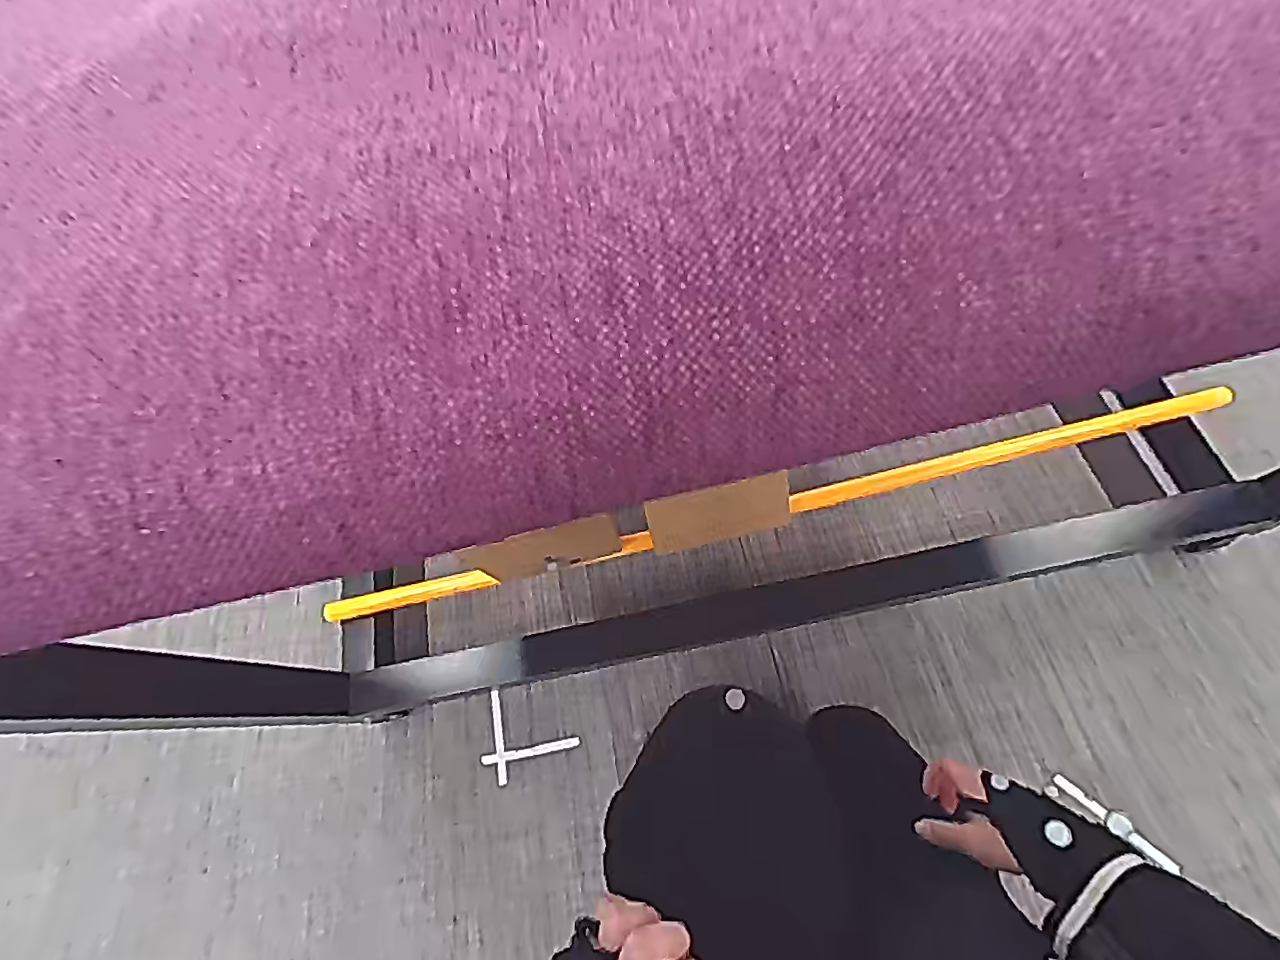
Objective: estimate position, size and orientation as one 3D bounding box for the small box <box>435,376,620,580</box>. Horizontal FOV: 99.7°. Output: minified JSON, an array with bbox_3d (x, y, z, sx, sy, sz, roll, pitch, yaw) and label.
[{"bbox_3d":[-0.130,0.006,0.662,0.168,0.176,0.179,-16,67,1],"label":"small box"}]
